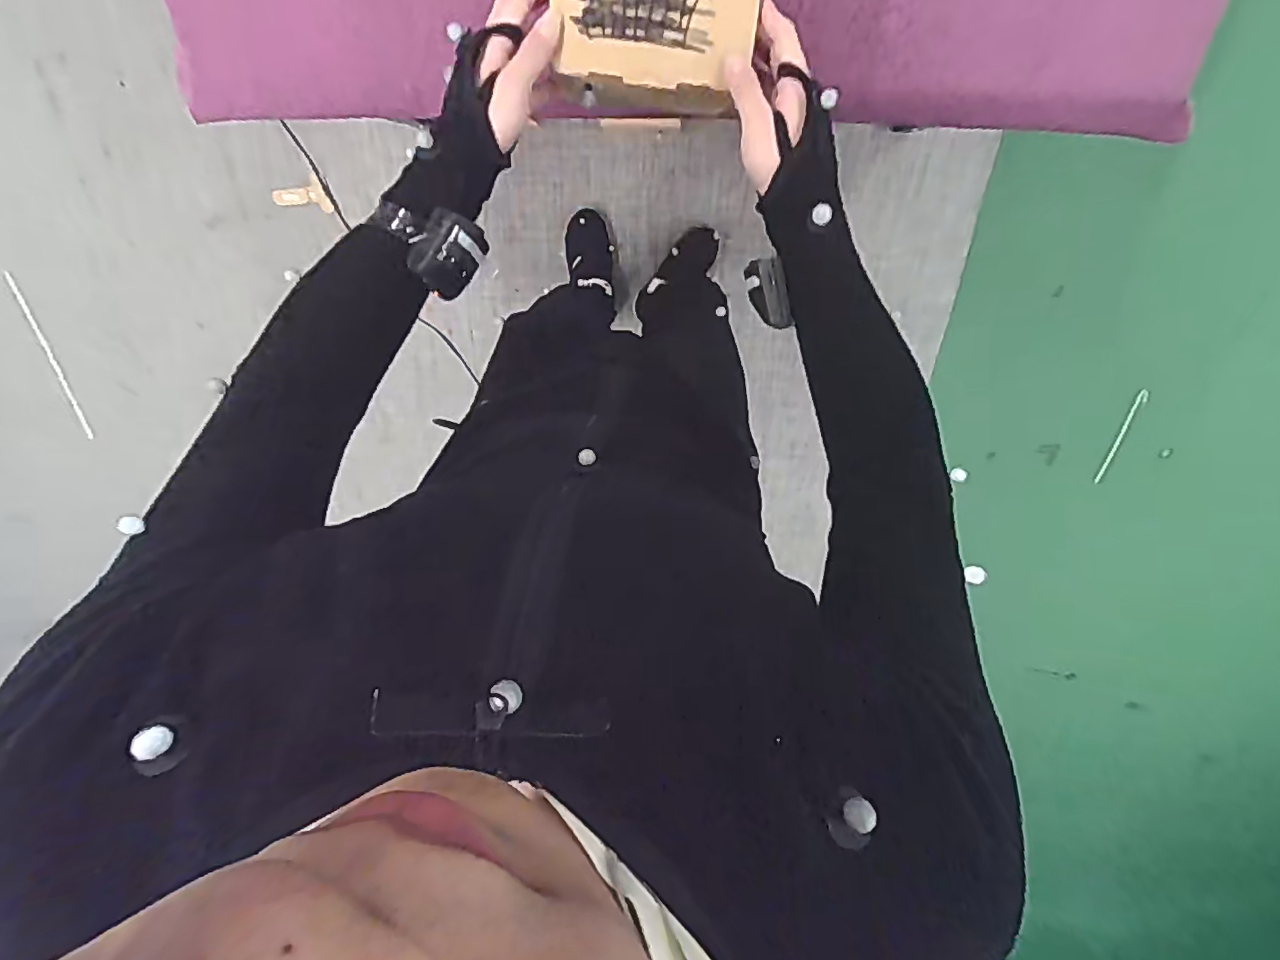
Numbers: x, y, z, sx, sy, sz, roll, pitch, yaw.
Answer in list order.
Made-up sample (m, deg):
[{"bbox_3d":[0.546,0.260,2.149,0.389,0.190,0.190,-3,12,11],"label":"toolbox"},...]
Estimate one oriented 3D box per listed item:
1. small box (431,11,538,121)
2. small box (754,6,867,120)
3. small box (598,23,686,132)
[{"bbox_3d":[-0.324,-0.877,1.160,0.179,0.176,0.168,0,119,-1],"label":"small box"},{"bbox_3d":[0.353,-0.883,1.161,0.179,0.176,0.168,3,119,-2],"label":"small box"},{"bbox_3d":[0.001,-0.861,1.170,0.179,0.176,0.168,1,118,-1],"label":"small box"}]
